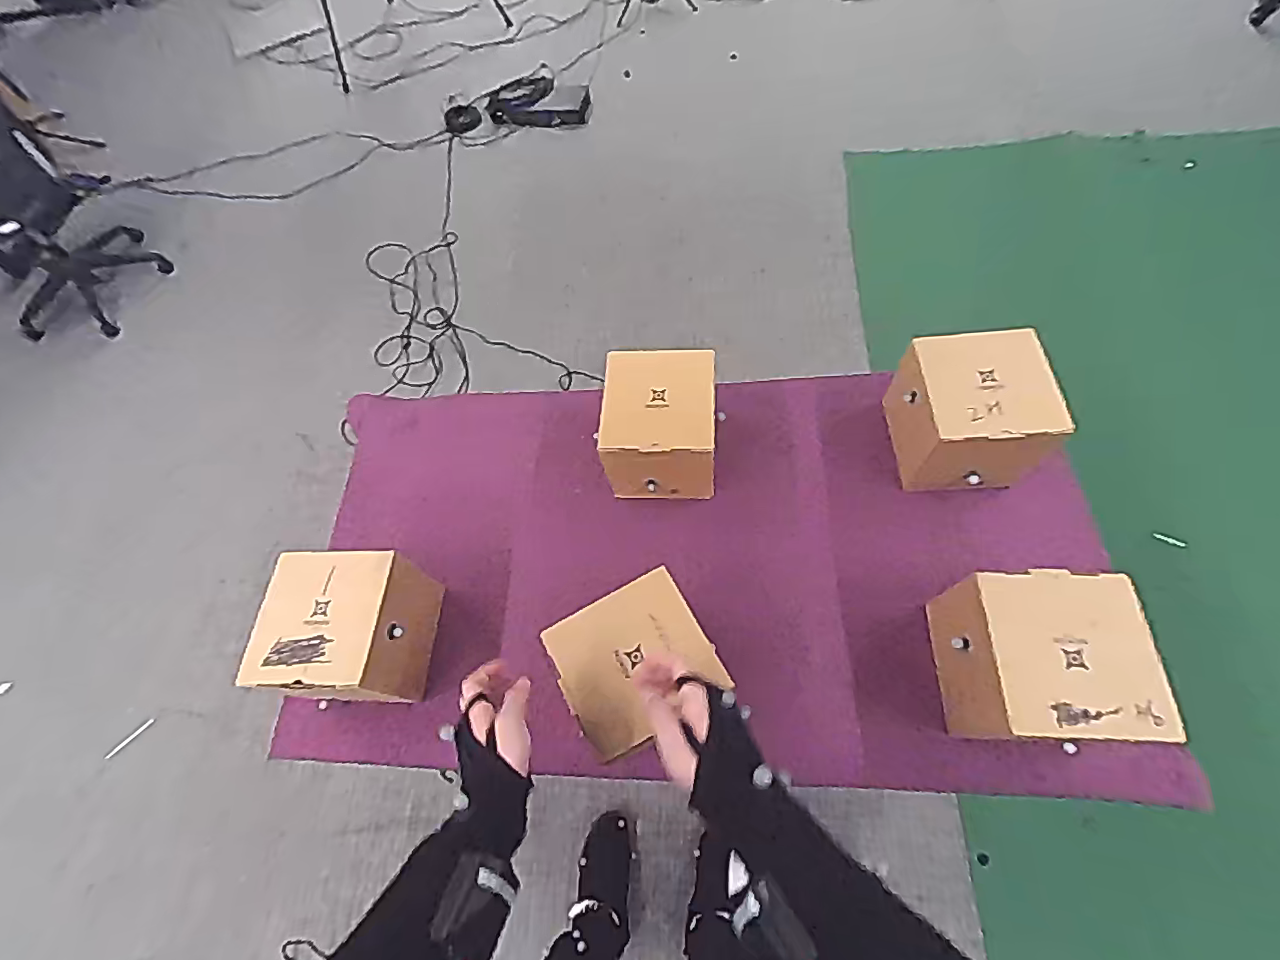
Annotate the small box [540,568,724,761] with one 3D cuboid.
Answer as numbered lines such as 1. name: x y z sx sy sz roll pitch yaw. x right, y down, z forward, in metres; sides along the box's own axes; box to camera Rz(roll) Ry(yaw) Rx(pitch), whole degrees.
1. small box: -0.003 0.246 0.712 0.179 0.176 0.168 -28 65 -6

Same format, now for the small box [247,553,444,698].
1. small box: -0.405 0.216 0.782 0.168 0.176 0.179 -2 62 7

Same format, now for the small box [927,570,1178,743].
1. small box: 0.471 0.218 0.656 0.168 0.176 0.179 -1 64 9

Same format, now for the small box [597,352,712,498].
1. small box: 0.032 -0.085 0.869 0.168 0.176 0.179 0 66 8

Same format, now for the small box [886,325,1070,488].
1. small box: 0.483 -0.103 0.809 0.168 0.176 0.179 -4 65 9
